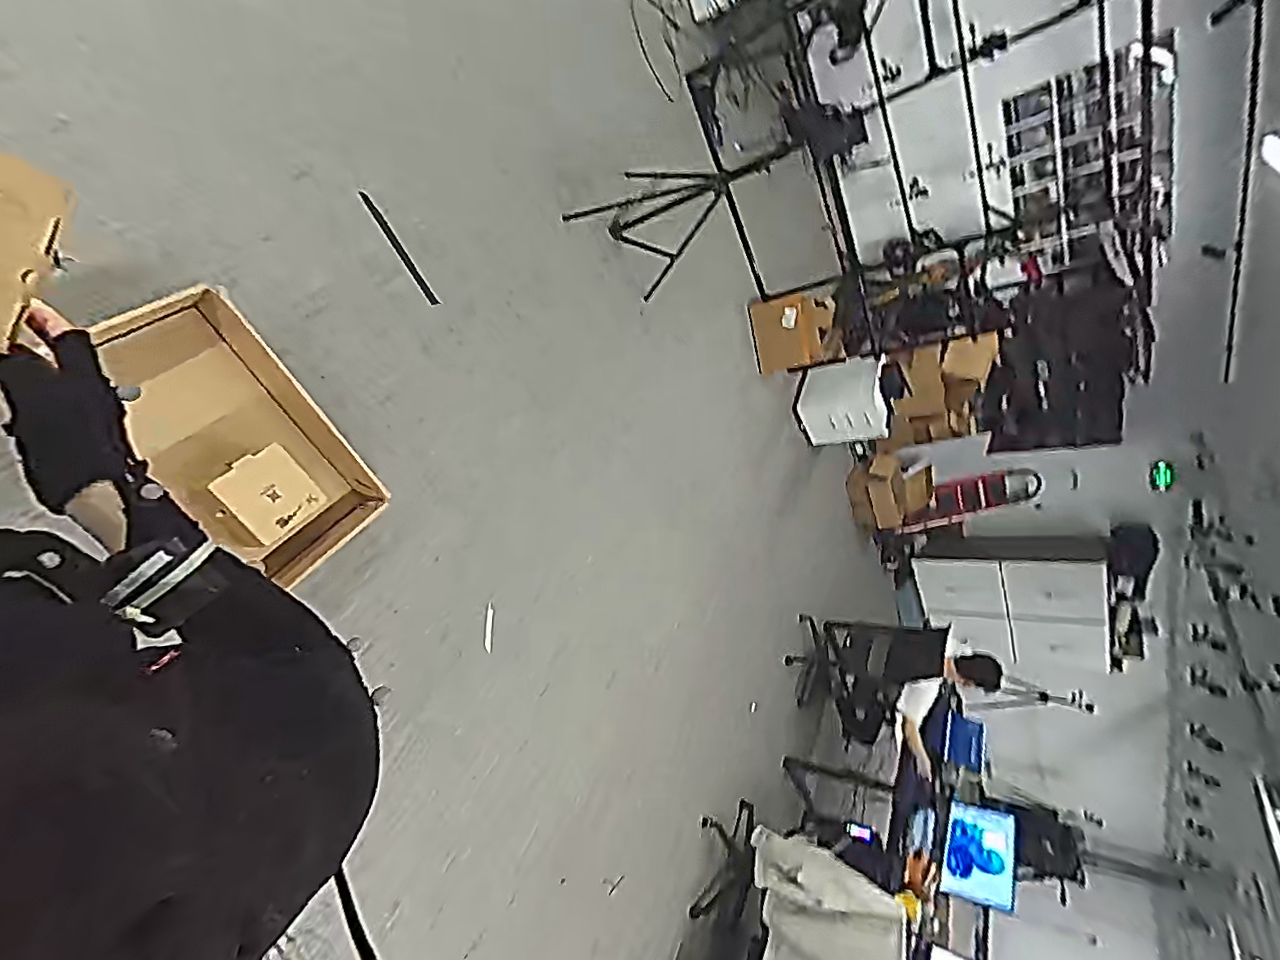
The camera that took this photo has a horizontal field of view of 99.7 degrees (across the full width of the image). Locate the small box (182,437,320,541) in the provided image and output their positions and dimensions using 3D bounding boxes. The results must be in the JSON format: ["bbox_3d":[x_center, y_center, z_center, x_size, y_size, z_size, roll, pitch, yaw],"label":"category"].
[{"bbox_3d":[-0.885,0.027,1.228,0.168,0.176,0.179,-52,124,-40],"label":"small box"}]

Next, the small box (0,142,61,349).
[{"bbox_3d":[-0.575,-0.185,0.392,0.179,0.176,0.168,20,78,-48],"label":"small box"}]
